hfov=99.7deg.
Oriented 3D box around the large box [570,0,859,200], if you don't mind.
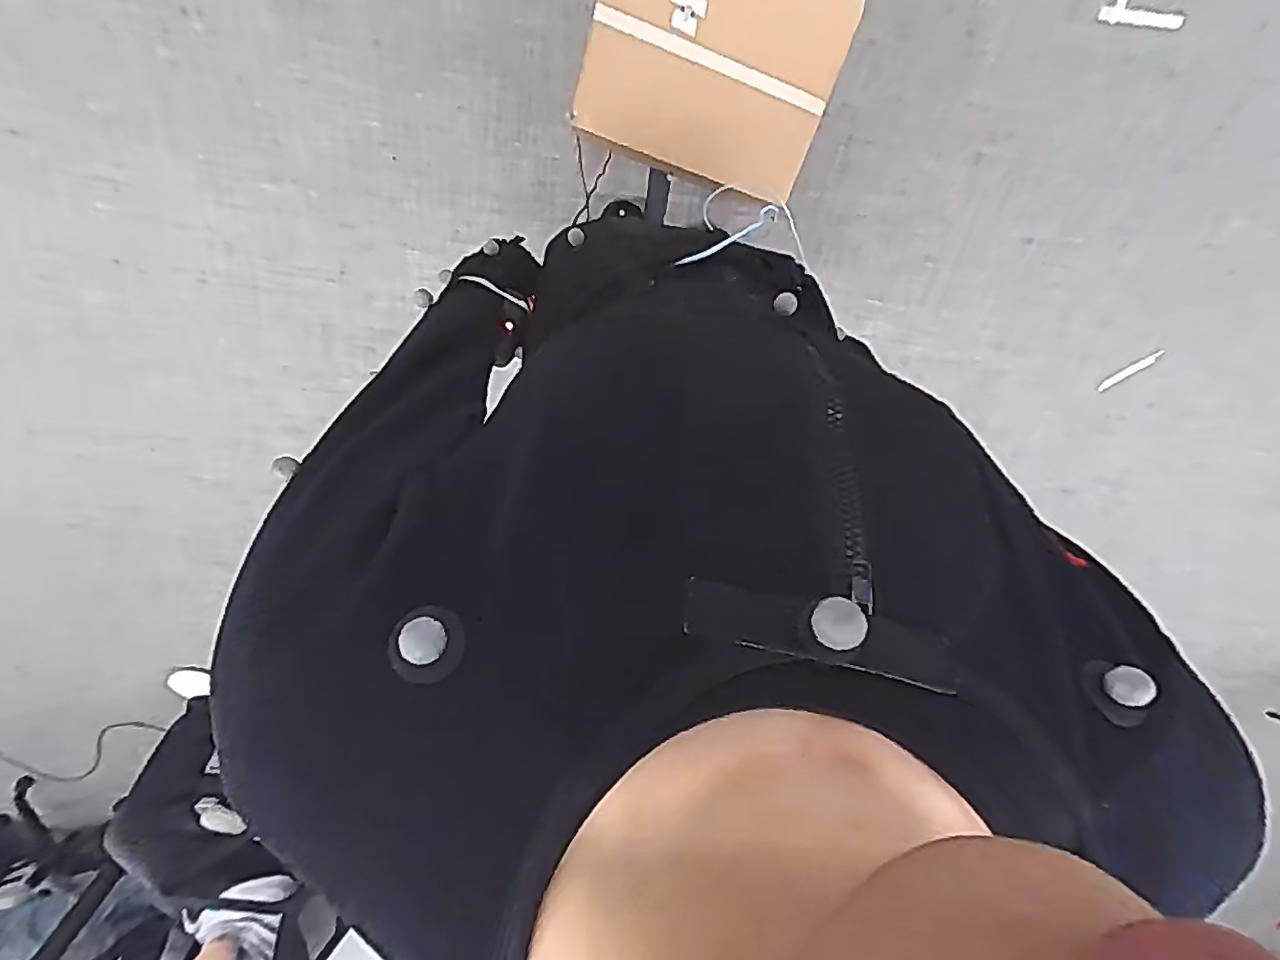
[{"bbox_3d":[0.112,-0.758,1.014,0.408,0.320,0.320,16,115,-11],"label":"large box"}]
